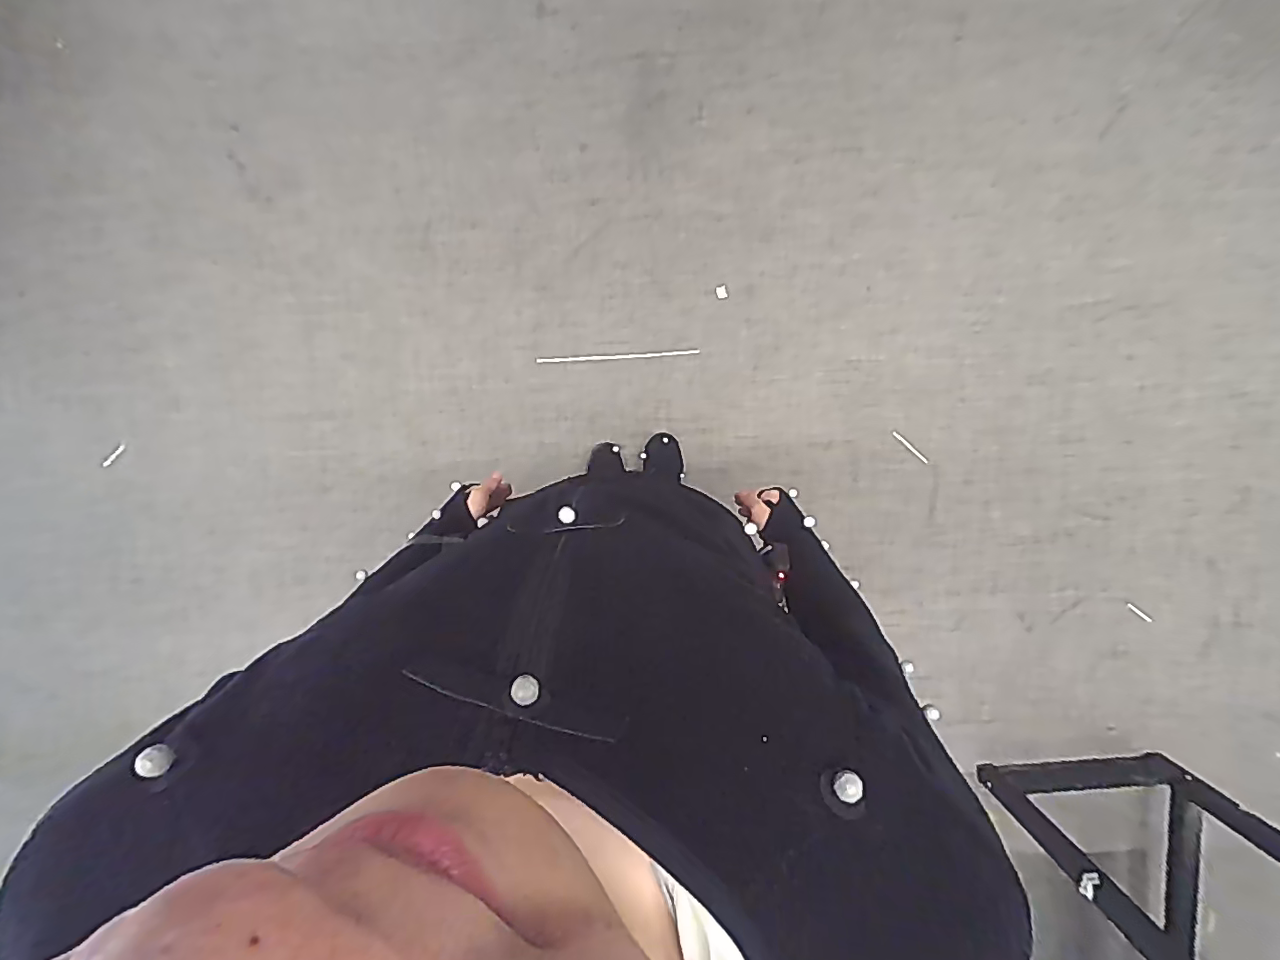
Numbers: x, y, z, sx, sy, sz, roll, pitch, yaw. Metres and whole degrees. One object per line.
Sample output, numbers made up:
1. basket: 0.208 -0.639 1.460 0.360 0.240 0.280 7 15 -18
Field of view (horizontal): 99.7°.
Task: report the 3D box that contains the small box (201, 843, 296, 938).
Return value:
1. small box: -1.179 1.244 1.646 0.179 0.176 0.168 0 96 1
